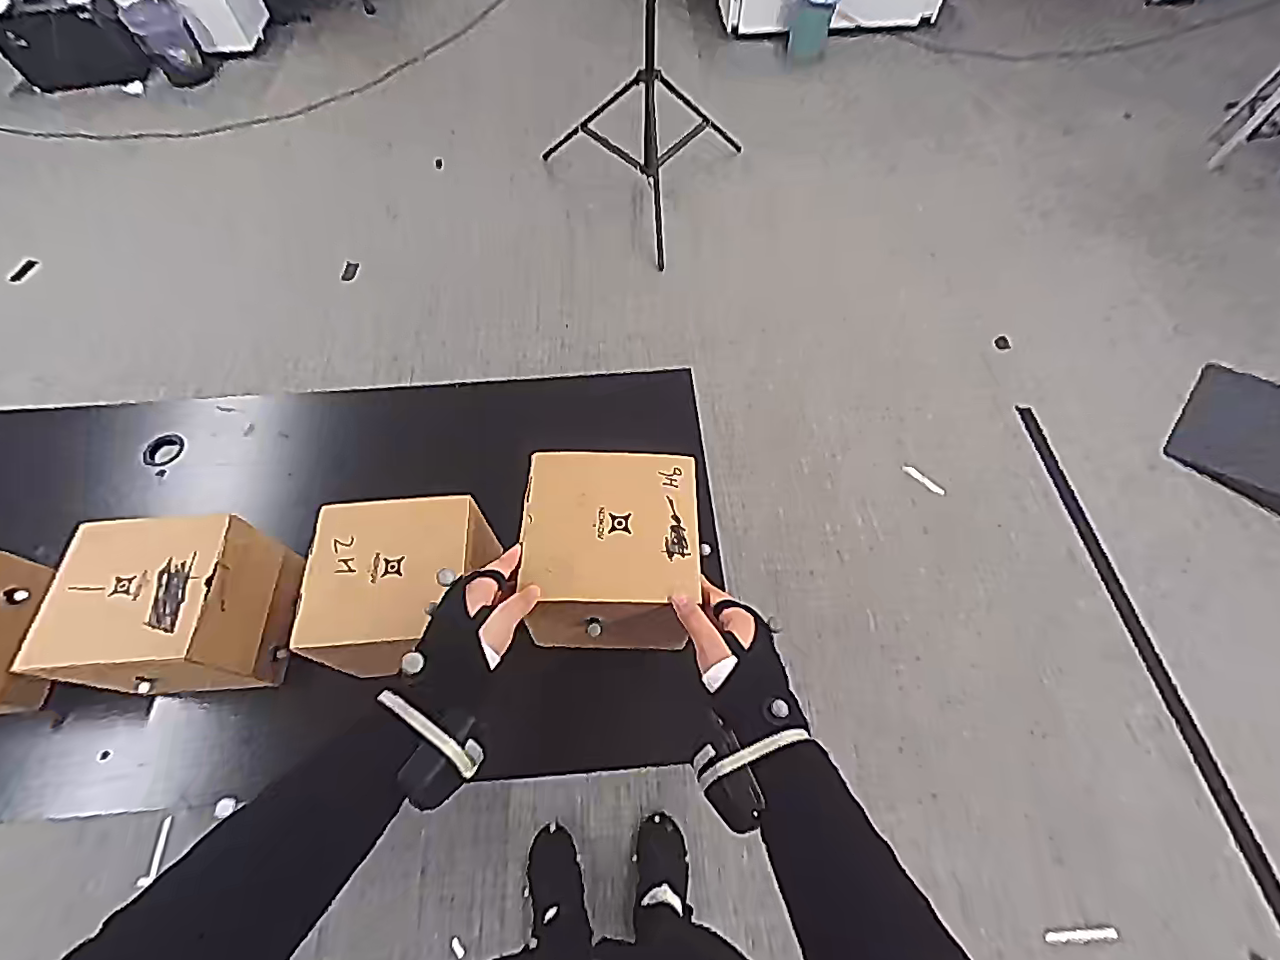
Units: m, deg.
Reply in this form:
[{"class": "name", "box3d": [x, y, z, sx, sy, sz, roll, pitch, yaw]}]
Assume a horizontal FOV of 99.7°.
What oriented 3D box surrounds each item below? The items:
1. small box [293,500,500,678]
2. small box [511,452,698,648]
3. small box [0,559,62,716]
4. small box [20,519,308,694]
[{"class": "small box", "box3d": [-0.276, 0.138, 0.664, 0.179, 0.176, 0.168, -5, 60, -2]}, {"class": "small box", "box3d": [-0.032, 0.084, 0.603, 0.179, 0.176, 0.168, 1, 59, -1]}, {"class": "small box", "box3d": [-0.839, 0.189, 0.643, 0.179, 0.176, 0.168, -7, 60, -3]}, {"class": "small box", "box3d": [-0.546, 0.158, 0.656, 0.179, 0.176, 0.168, -4, 61, -1]}]
